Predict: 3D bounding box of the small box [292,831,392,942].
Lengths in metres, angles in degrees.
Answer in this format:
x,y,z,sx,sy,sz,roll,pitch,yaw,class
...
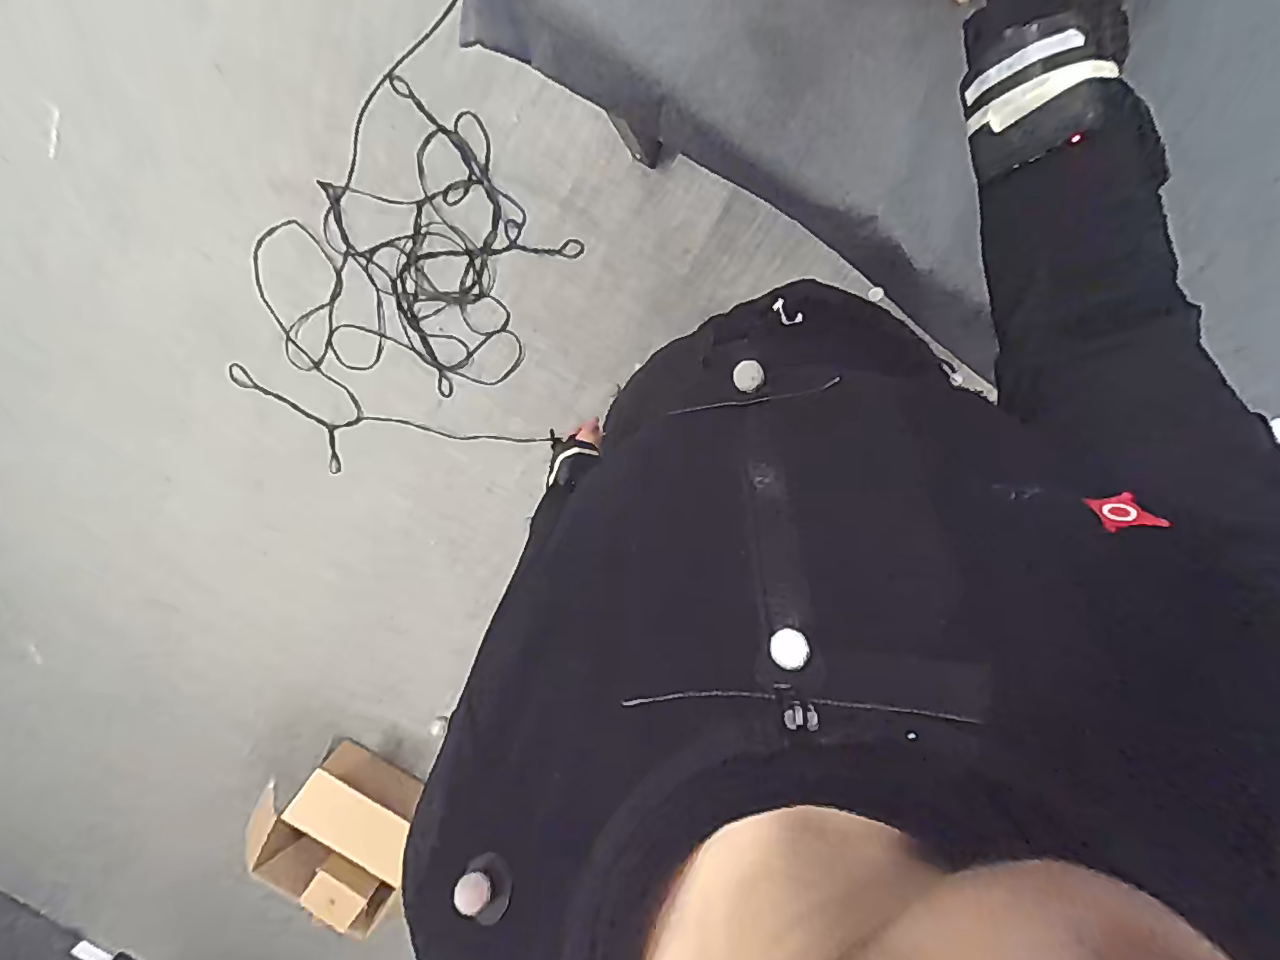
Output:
x,y,z,sx,sy,sz,roll,pitch,yaw,class
-0.883,1.208,1.616,0.168,0.176,0.179,36,106,-2,small box
